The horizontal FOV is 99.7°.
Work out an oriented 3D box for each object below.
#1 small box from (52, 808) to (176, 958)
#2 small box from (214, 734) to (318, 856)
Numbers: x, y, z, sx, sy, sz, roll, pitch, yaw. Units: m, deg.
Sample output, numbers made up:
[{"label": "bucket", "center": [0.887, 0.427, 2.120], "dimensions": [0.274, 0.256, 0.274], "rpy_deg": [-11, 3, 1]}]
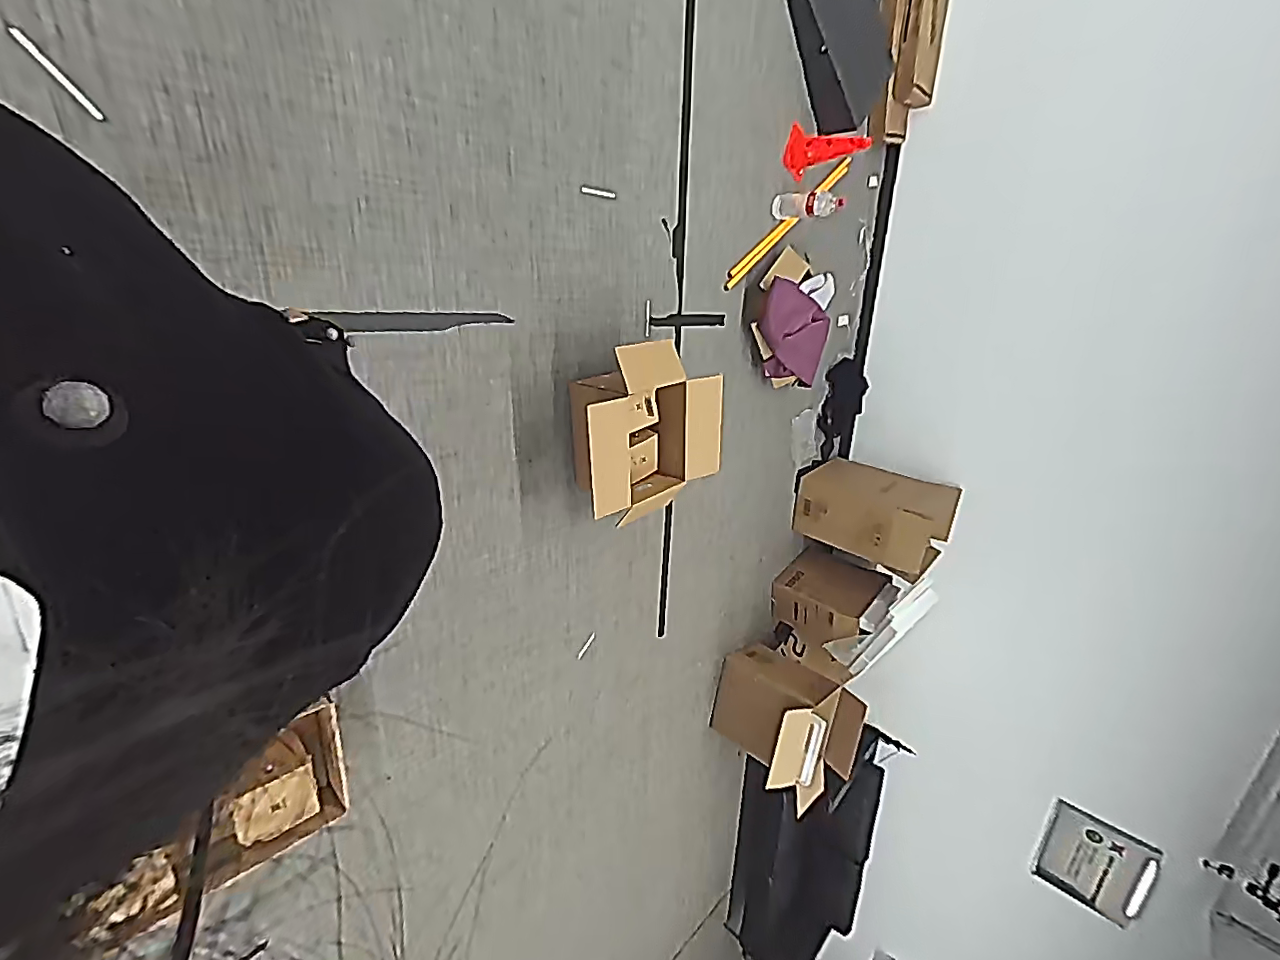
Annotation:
[{"label": "small box", "center": [-1.160, 0.869, 1.193], "dimensions": [0.168, 0.176, 0.179], "rpy_deg": [-14, 113, -46]}, {"label": "small box", "center": [-0.961, 0.797, 1.391], "dimensions": [0.179, 0.176, 0.168], "rpy_deg": [-15, 114, -43]}]
